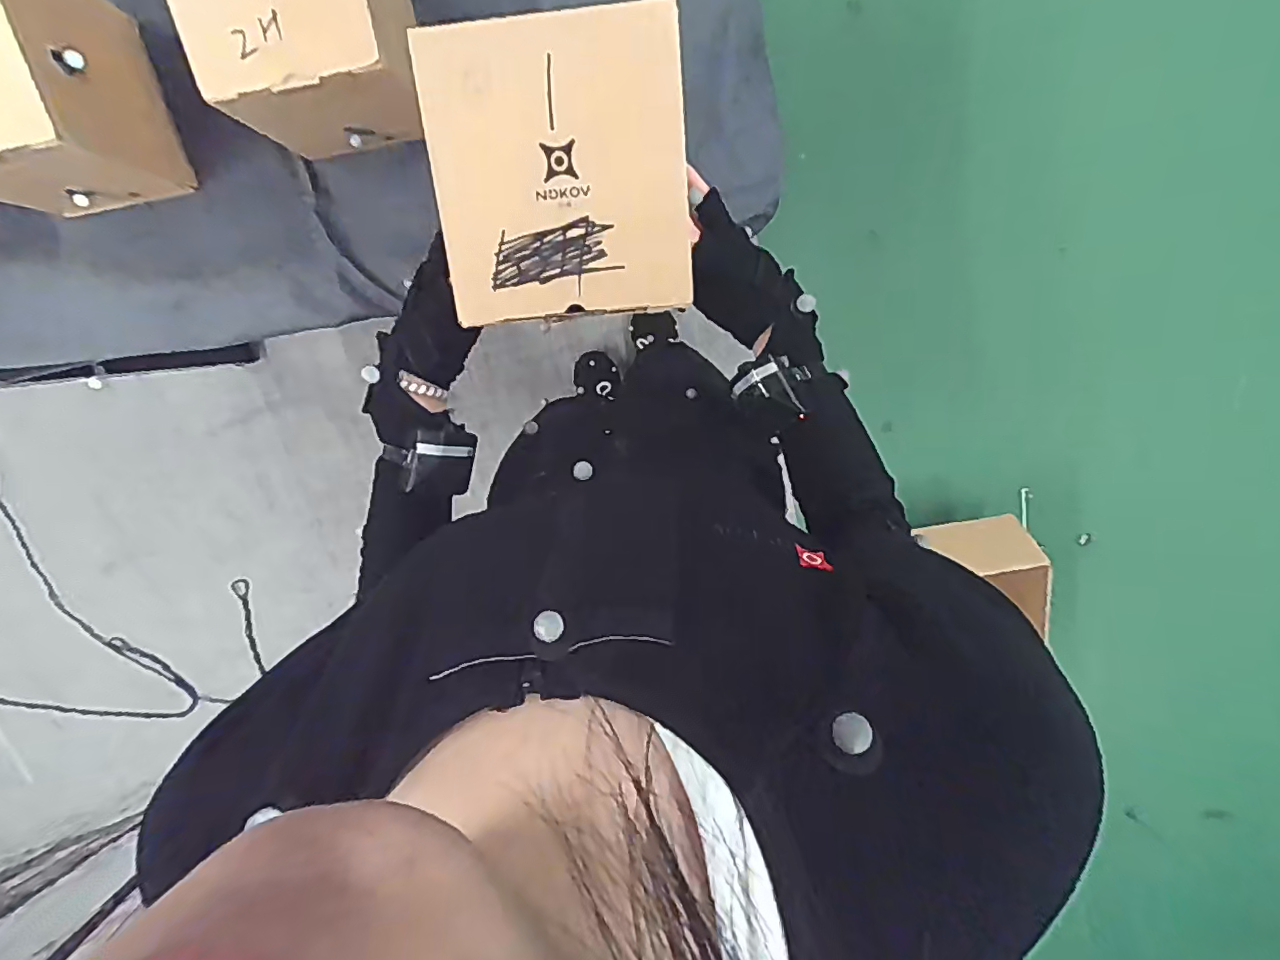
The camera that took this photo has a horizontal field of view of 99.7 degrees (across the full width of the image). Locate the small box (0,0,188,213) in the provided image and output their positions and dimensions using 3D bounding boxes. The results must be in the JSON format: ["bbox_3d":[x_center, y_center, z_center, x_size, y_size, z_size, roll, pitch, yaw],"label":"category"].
[{"bbox_3d":[-0.613,-0.386,0.533,0.168,0.176,0.179,-11,106,0],"label":"small box"}]

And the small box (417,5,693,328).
[{"bbox_3d":[-0.046,-0.220,0.426,0.168,0.176,0.179,-4,108,2],"label":"small box"}]

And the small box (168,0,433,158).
[{"bbox_3d":[-0.321,-0.448,0.528,0.168,0.176,0.179,-11,106,1],"label":"small box"}]
